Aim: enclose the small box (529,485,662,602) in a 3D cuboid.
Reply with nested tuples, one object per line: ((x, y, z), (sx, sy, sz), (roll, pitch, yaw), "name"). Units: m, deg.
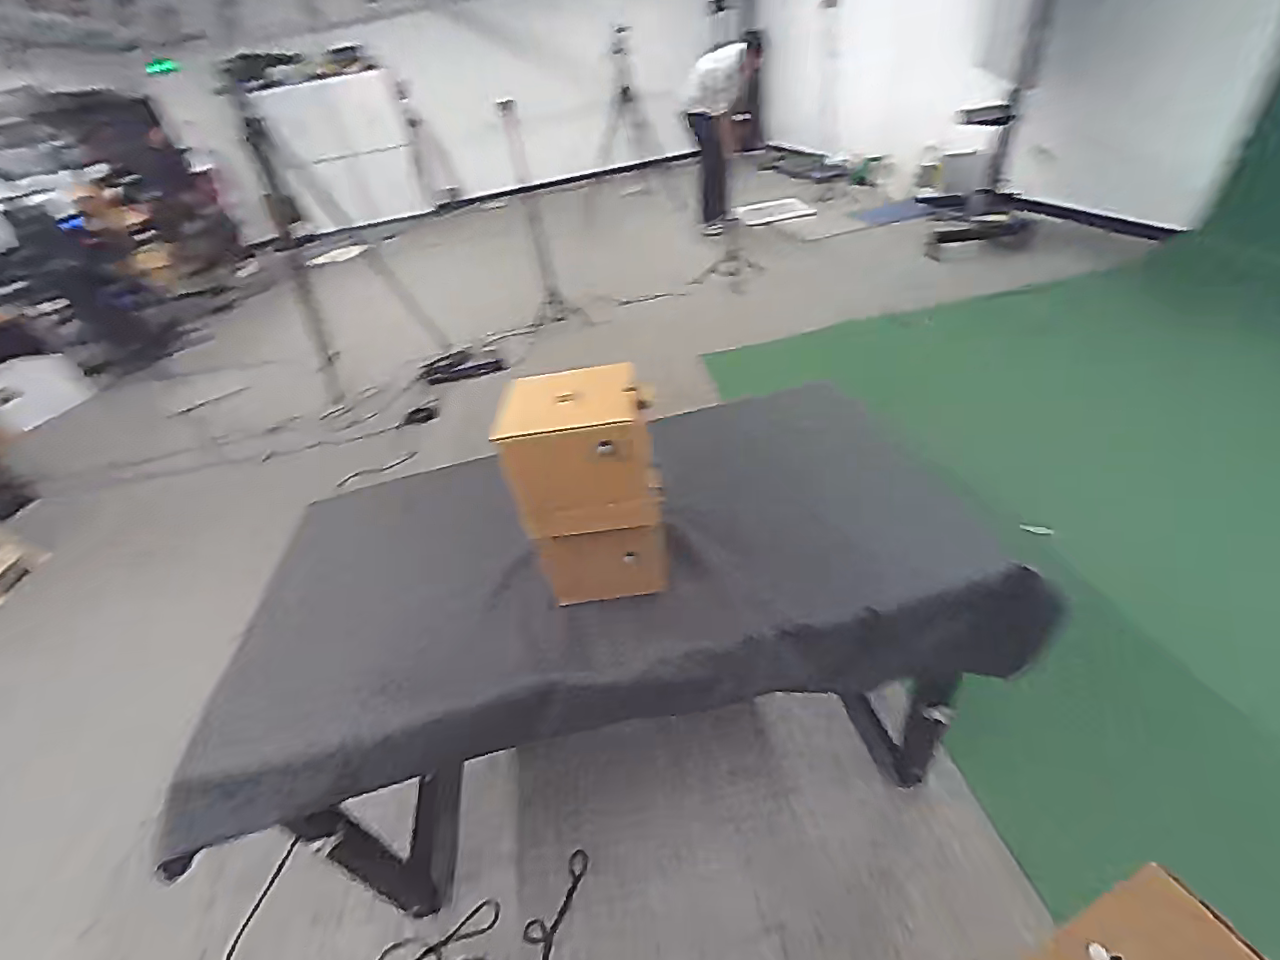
((-0.062, 0.072, 0.865), (0.179, 0.176, 0.168), (-10, 36, 3), "small box")

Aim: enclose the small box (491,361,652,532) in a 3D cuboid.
((-0.083, -0.044, 0.751), (0.179, 0.176, 0.168), (-8, 36, 4), "small box")
